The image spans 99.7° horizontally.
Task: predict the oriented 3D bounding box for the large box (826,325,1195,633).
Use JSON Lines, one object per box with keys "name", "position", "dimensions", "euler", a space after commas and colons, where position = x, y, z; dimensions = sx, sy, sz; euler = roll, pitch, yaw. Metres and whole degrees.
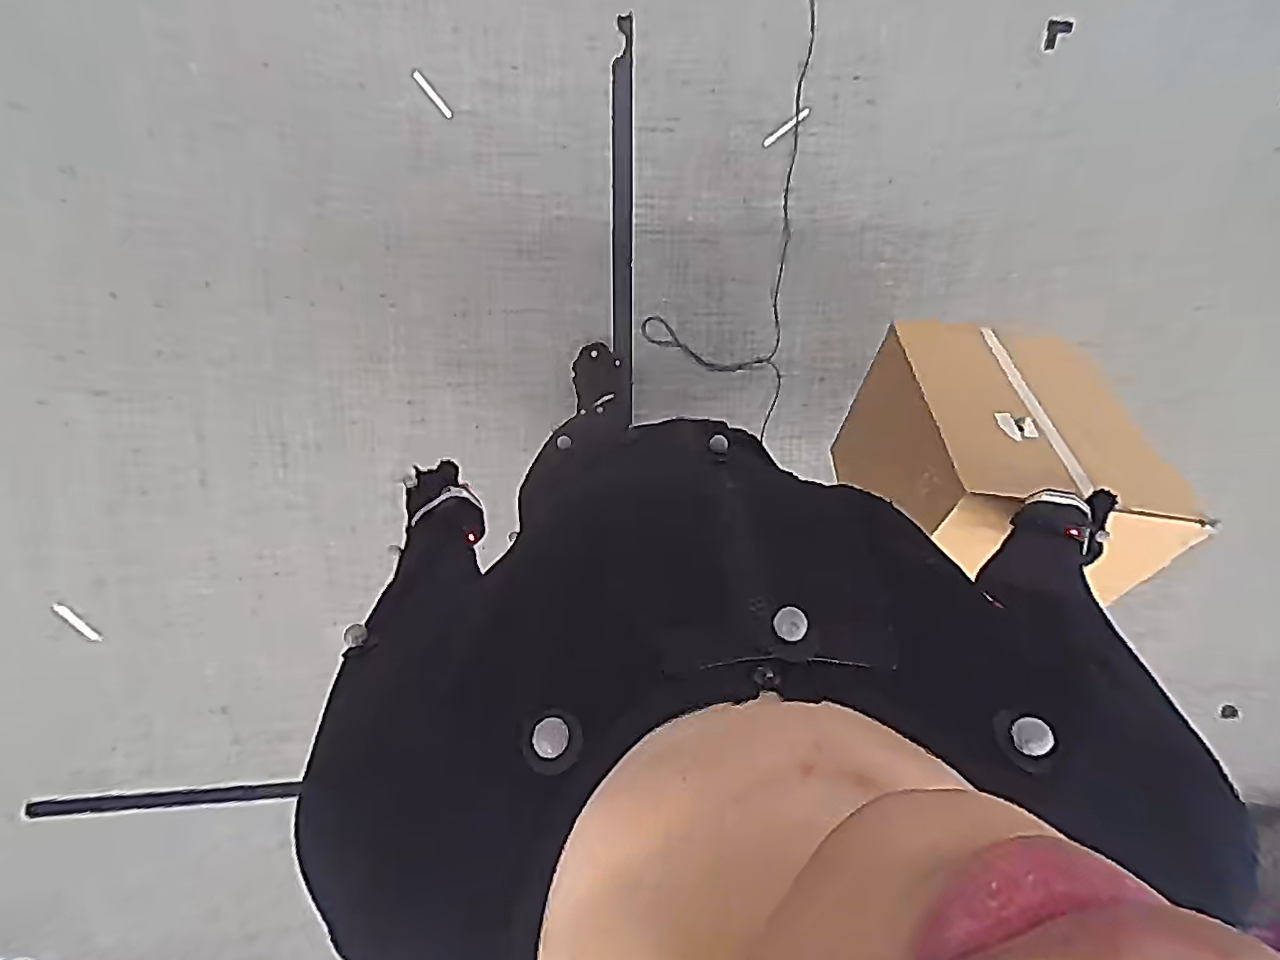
{"name": "large box", "position": [0.550, -0.005, 0.920], "dimensions": [0.320, 0.408, 0.320], "euler": [7, 138, -1]}
